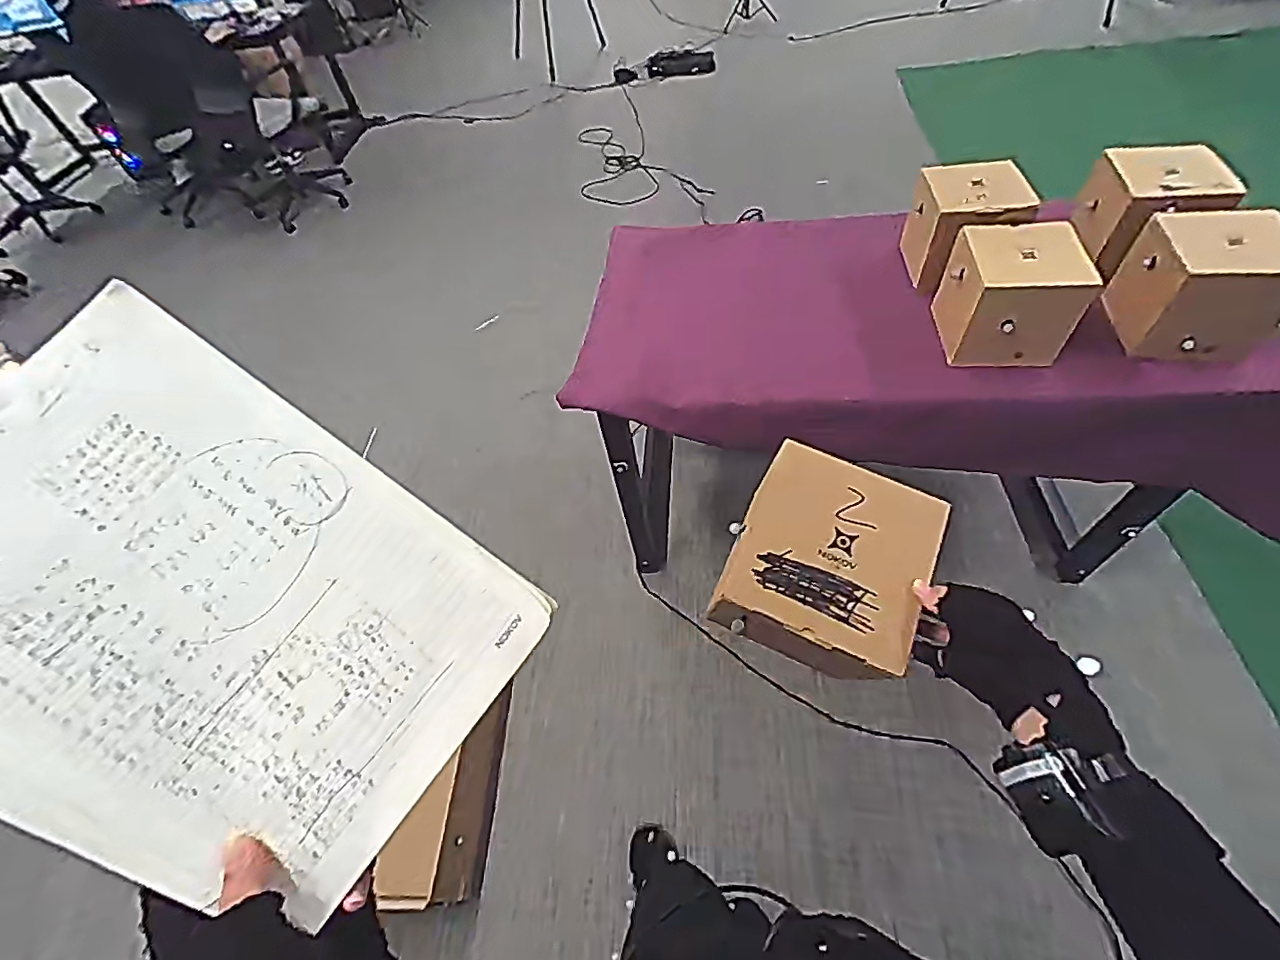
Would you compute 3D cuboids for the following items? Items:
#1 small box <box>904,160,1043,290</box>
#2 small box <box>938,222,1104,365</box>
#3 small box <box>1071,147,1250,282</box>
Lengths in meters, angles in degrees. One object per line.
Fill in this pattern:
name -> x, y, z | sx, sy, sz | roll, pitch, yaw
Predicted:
small box -> 0.637, -0.496, 1.060 | 0.168, 0.176, 0.179 | 1, 55, 9
small box -> 0.635, -0.314, 0.929 | 0.168, 0.176, 0.179 | 2, 55, 11
small box -> 0.947, -0.495, 1.014 | 0.168, 0.176, 0.179 | 4, 54, 12
